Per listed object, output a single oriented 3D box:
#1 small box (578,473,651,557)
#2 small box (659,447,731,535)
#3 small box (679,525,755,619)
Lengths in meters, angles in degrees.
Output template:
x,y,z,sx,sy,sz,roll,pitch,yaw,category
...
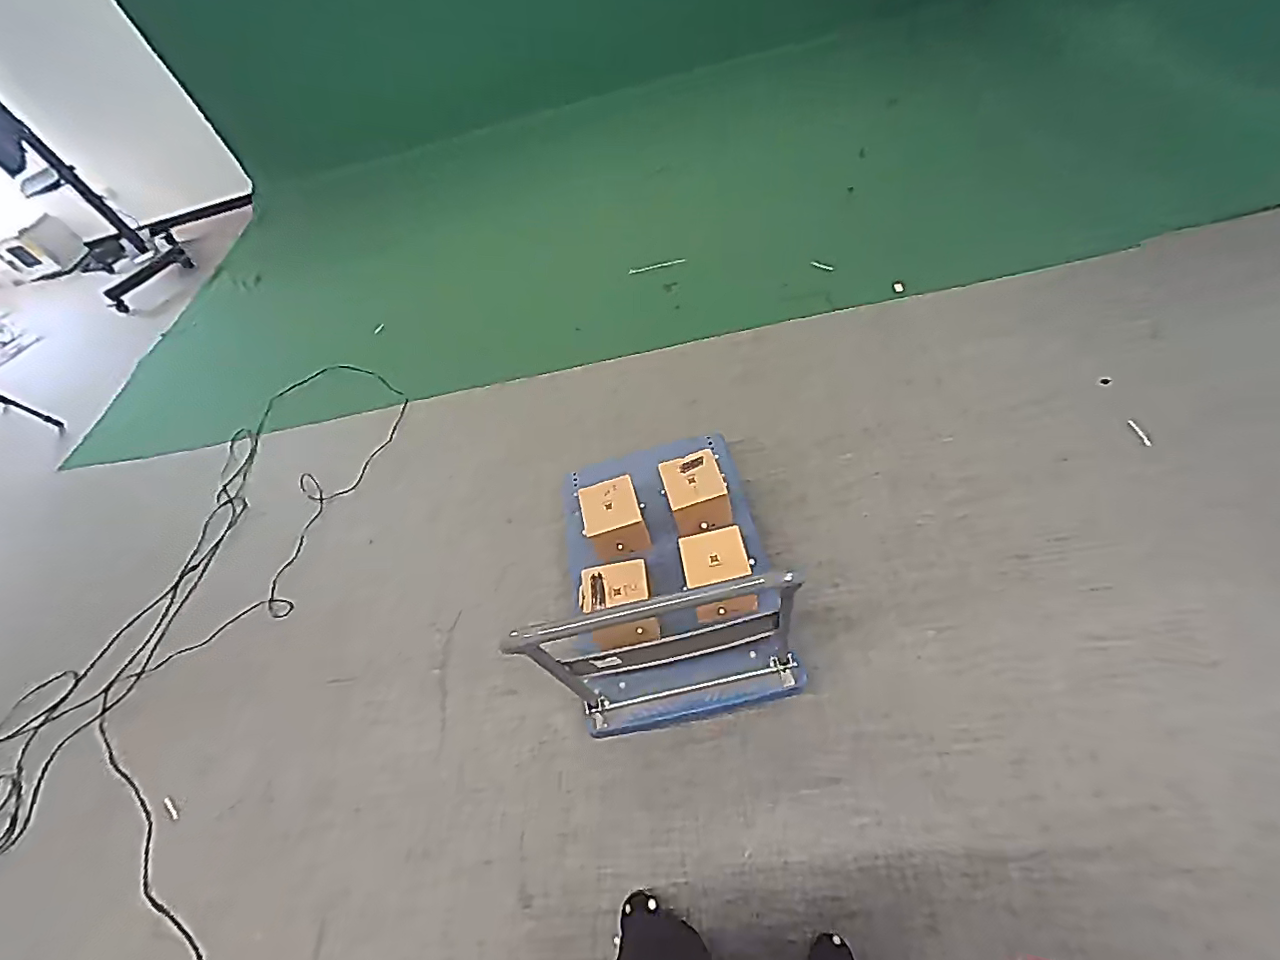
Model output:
x,y,z,sx,sy,sz,roll,pitch,yaw,category
-0.074,0.113,1.625,0.168,0.176,0.179,-17,53,2,small box
0.166,0.037,1.615,0.168,0.176,0.179,-18,54,3,small box
0.207,0.250,1.454,0.168,0.176,0.179,-13,53,5,small box
